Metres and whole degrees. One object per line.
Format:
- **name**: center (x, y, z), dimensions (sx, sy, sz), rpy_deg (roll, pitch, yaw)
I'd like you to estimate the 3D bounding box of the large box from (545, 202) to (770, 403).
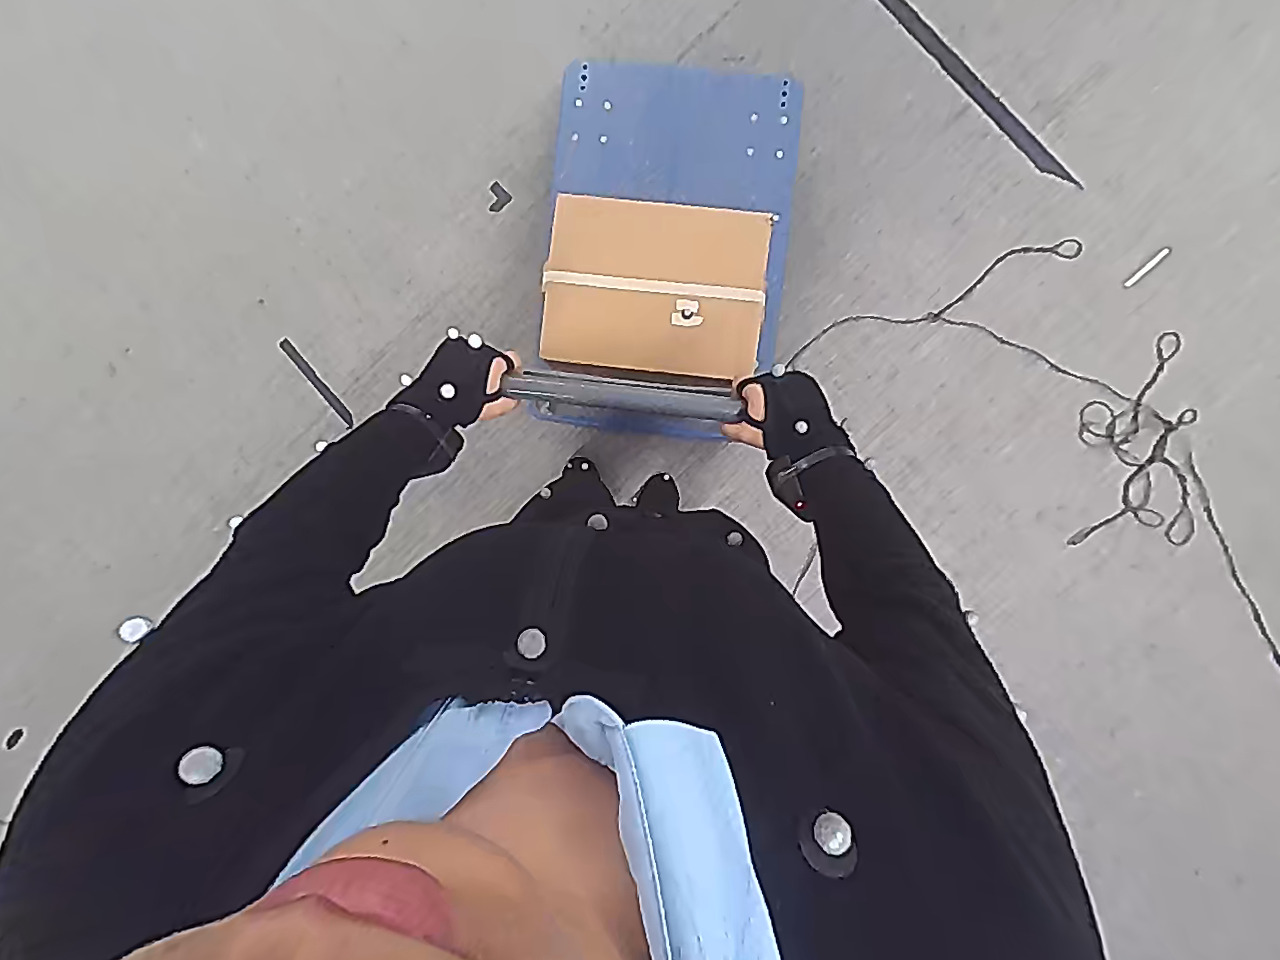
- **large box**: center (0.033, -0.353, 1.157), dimensions (0.408, 0.320, 0.320), rpy_deg (6, 91, 1)
